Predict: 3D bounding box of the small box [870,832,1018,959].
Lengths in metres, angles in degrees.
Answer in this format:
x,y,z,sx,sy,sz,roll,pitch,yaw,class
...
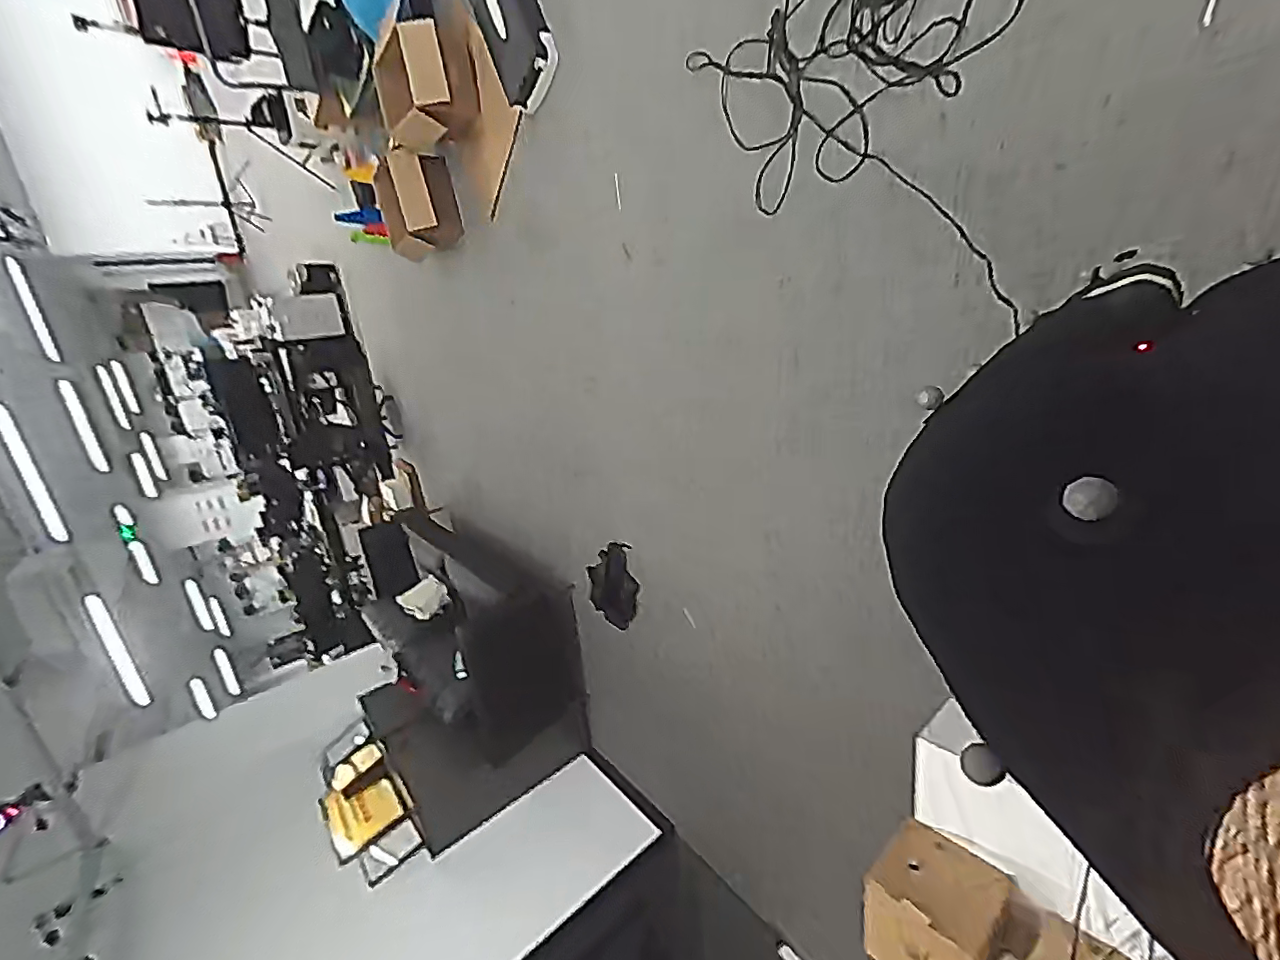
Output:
x,y,z,sx,sy,sz,roll,pitch,yaw,class
0.502,0.741,0.897,0.168,0.176,0.179,12,116,50,small box
